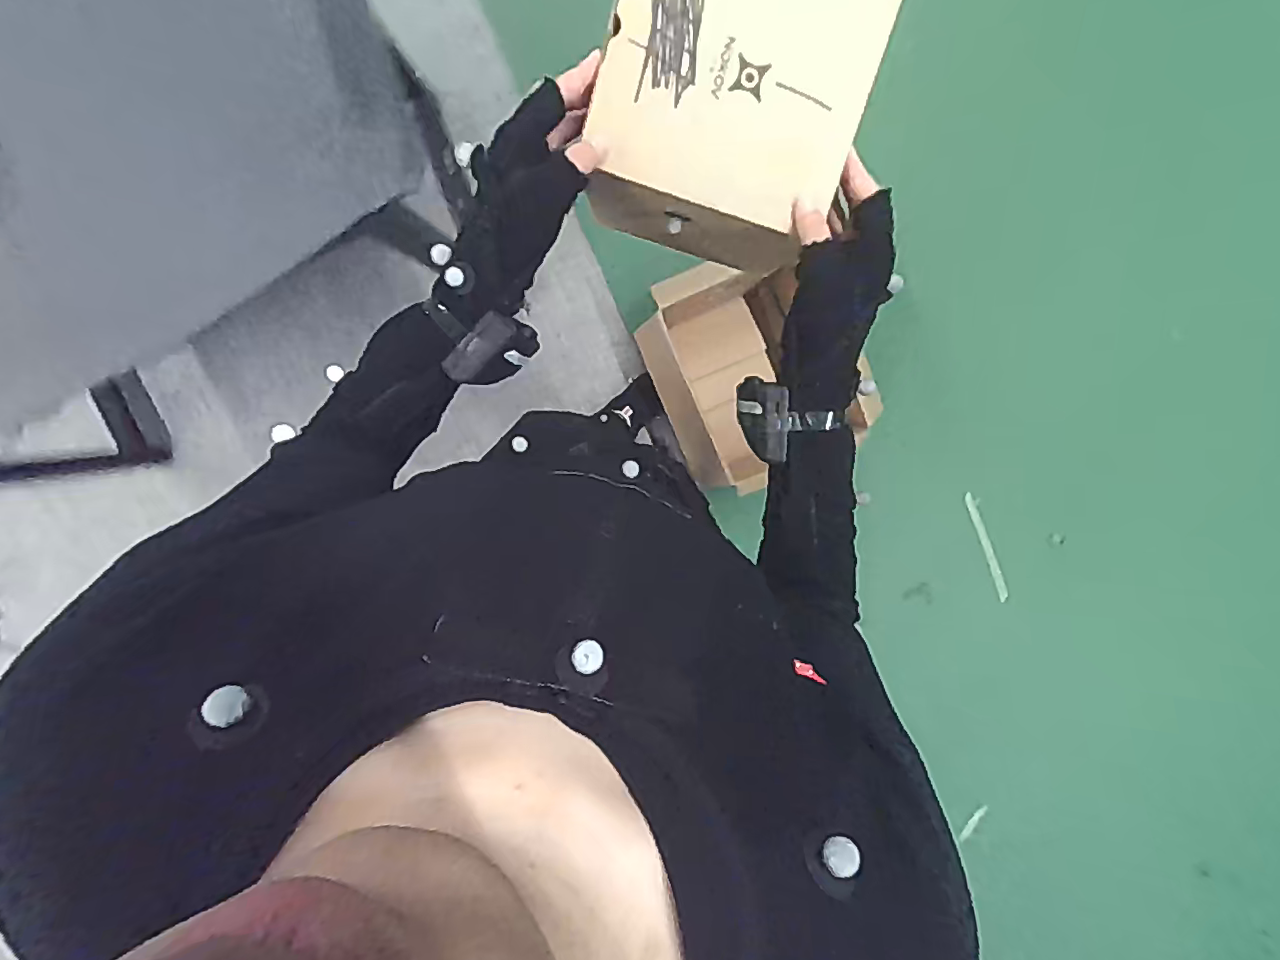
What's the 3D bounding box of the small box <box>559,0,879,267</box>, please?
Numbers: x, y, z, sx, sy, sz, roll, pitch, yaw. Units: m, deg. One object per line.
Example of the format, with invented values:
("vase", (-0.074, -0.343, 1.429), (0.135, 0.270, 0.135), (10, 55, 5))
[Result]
("small box", (0.049, -0.280, 0.425), (0.179, 0.176, 0.168), (14, 103, -4))
